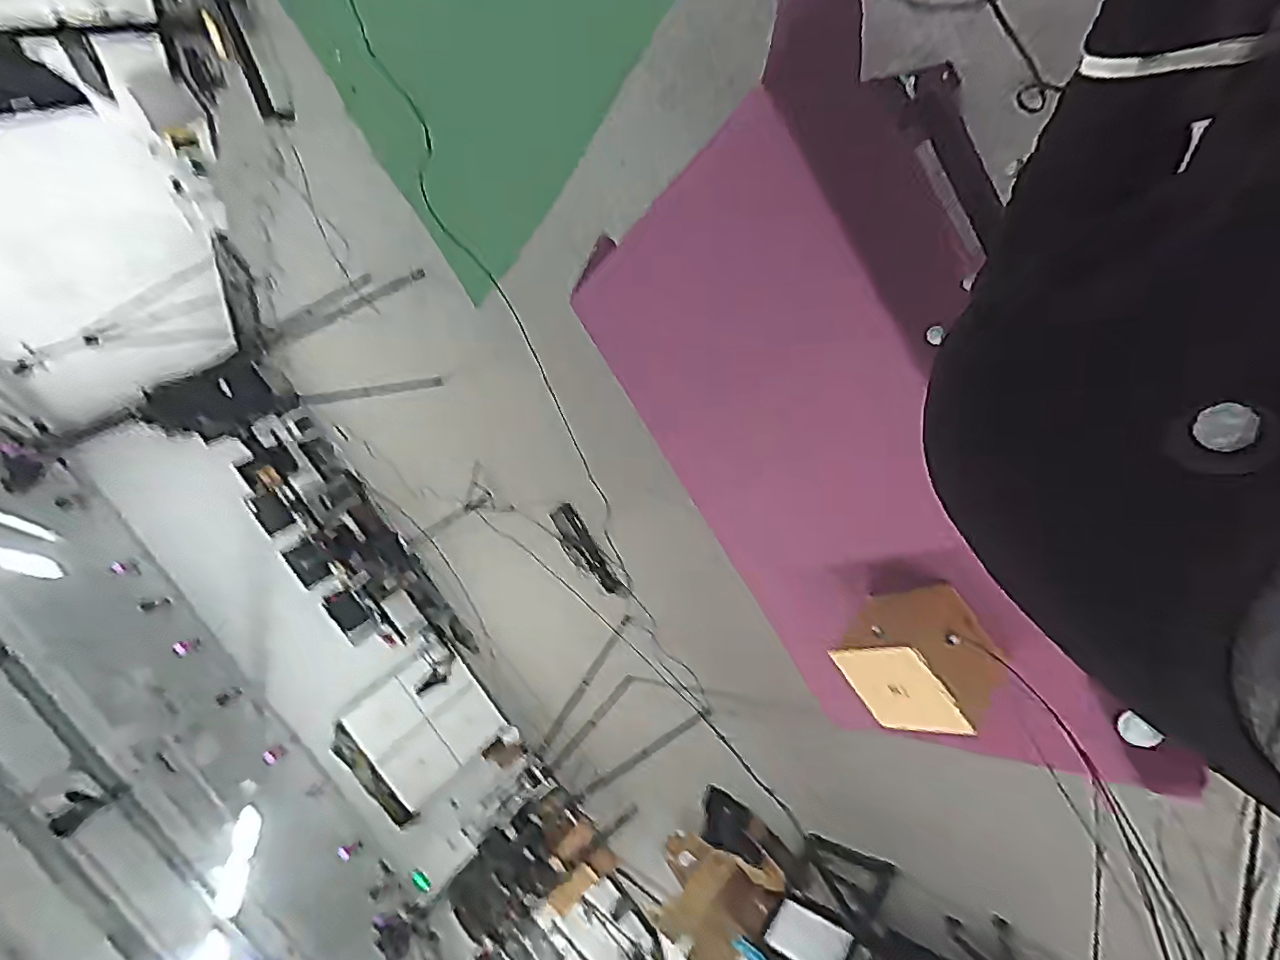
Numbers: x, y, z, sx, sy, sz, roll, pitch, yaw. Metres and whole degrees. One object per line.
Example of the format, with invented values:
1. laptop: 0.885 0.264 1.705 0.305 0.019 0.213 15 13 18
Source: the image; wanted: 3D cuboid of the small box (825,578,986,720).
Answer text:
1. small box: 0.470 0.290 0.948 0.168 0.176 0.179 55 148 -1
